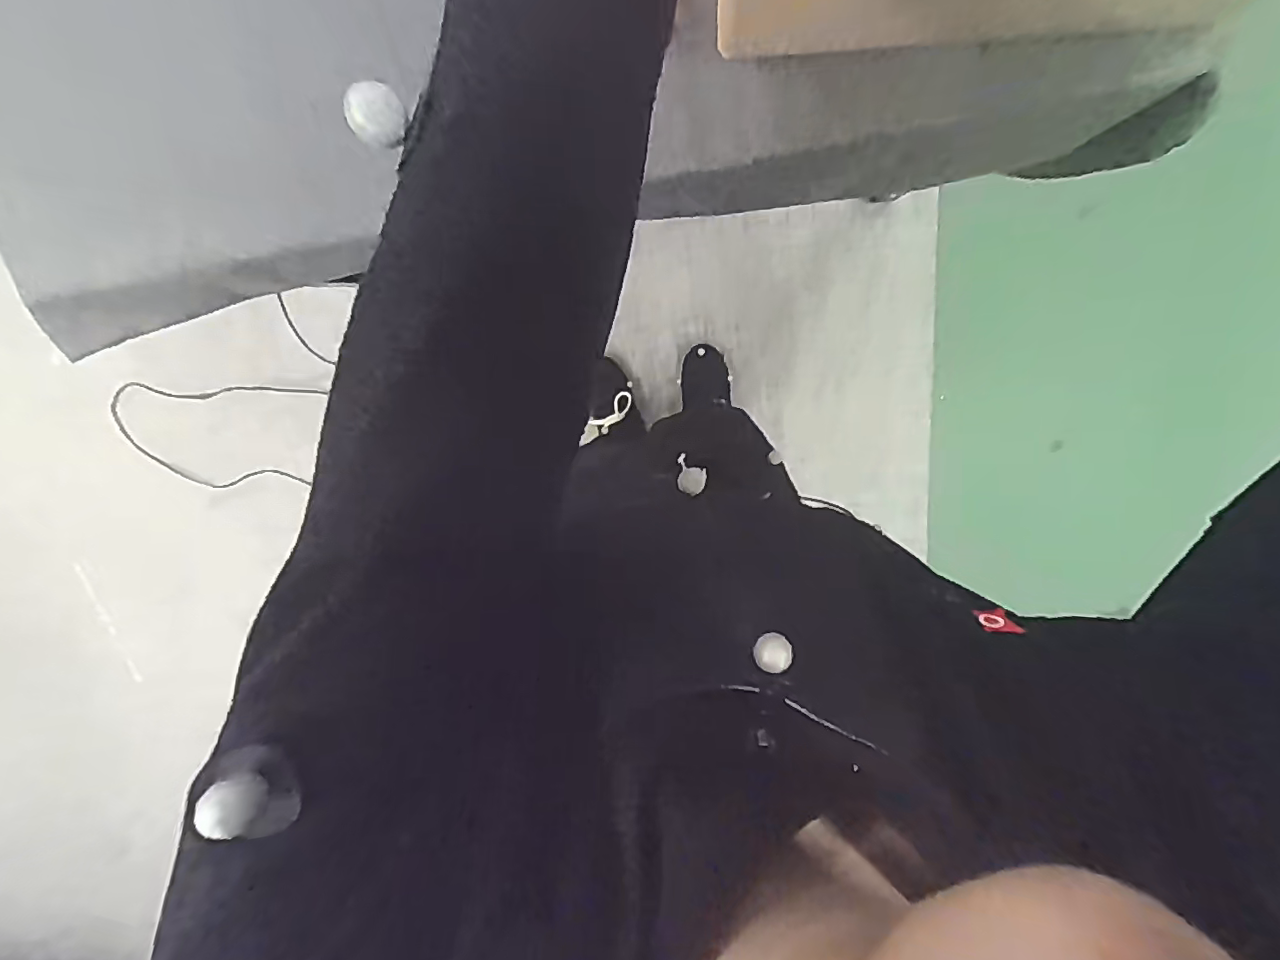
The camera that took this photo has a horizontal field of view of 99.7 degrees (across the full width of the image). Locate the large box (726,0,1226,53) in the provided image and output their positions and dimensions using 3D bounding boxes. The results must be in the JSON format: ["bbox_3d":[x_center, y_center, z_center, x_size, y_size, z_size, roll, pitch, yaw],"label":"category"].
[{"bbox_3d":[0.250,-0.473,0.270,0.408,0.320,0.320,0,110,6],"label":"large box"}]
